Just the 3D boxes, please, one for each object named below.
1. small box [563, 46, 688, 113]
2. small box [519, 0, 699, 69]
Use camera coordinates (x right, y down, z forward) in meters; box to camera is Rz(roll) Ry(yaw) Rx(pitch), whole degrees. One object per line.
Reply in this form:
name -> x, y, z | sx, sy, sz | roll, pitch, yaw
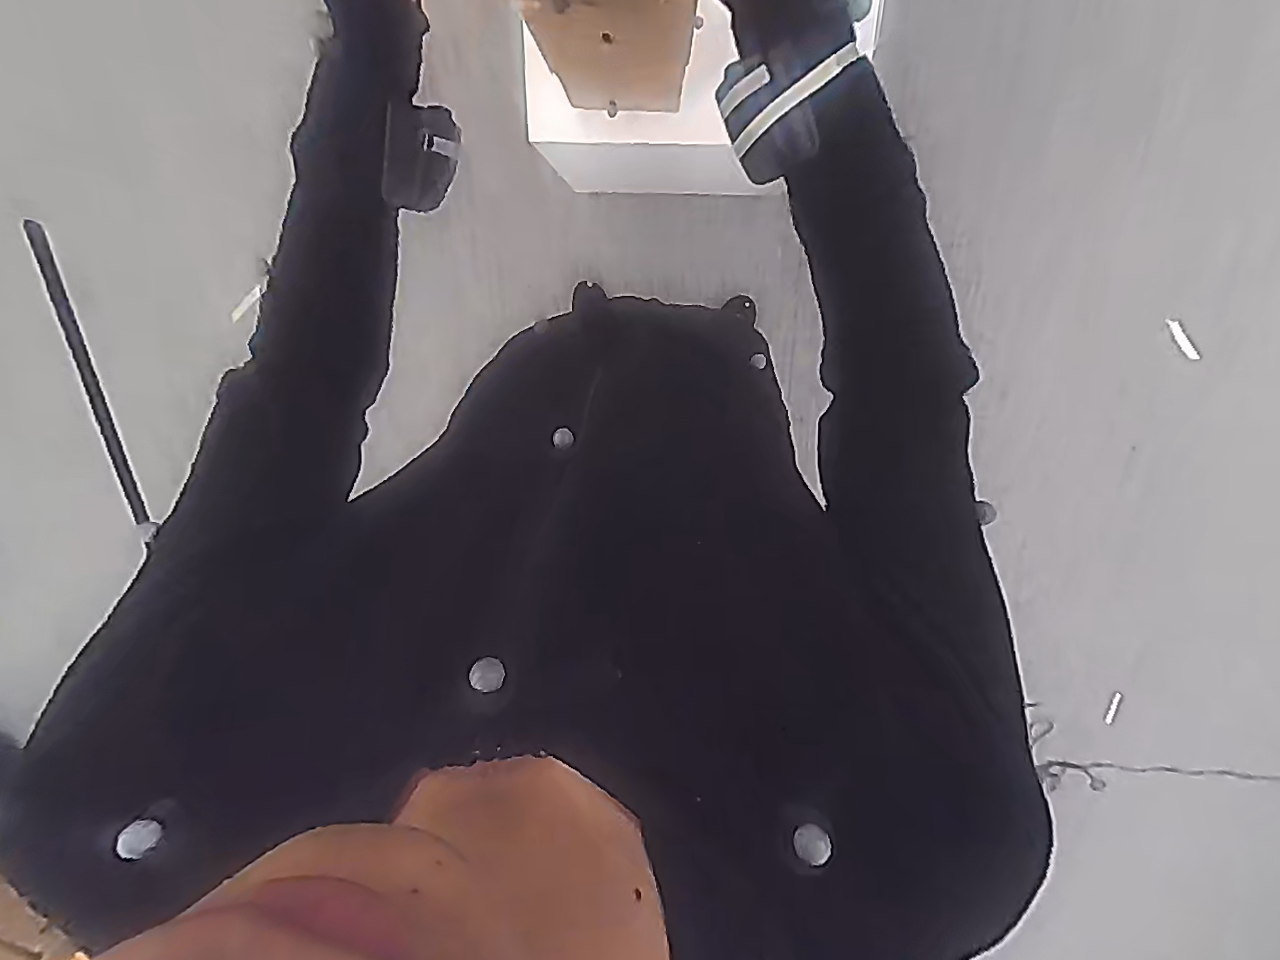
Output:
small box -> -0.019, -0.615, 0.714 | 0.168, 0.176, 0.179 | 2, 111, 1
small box -> -0.028, -0.557, 0.561 | 0.179, 0.176, 0.168 | -1, 110, 3
